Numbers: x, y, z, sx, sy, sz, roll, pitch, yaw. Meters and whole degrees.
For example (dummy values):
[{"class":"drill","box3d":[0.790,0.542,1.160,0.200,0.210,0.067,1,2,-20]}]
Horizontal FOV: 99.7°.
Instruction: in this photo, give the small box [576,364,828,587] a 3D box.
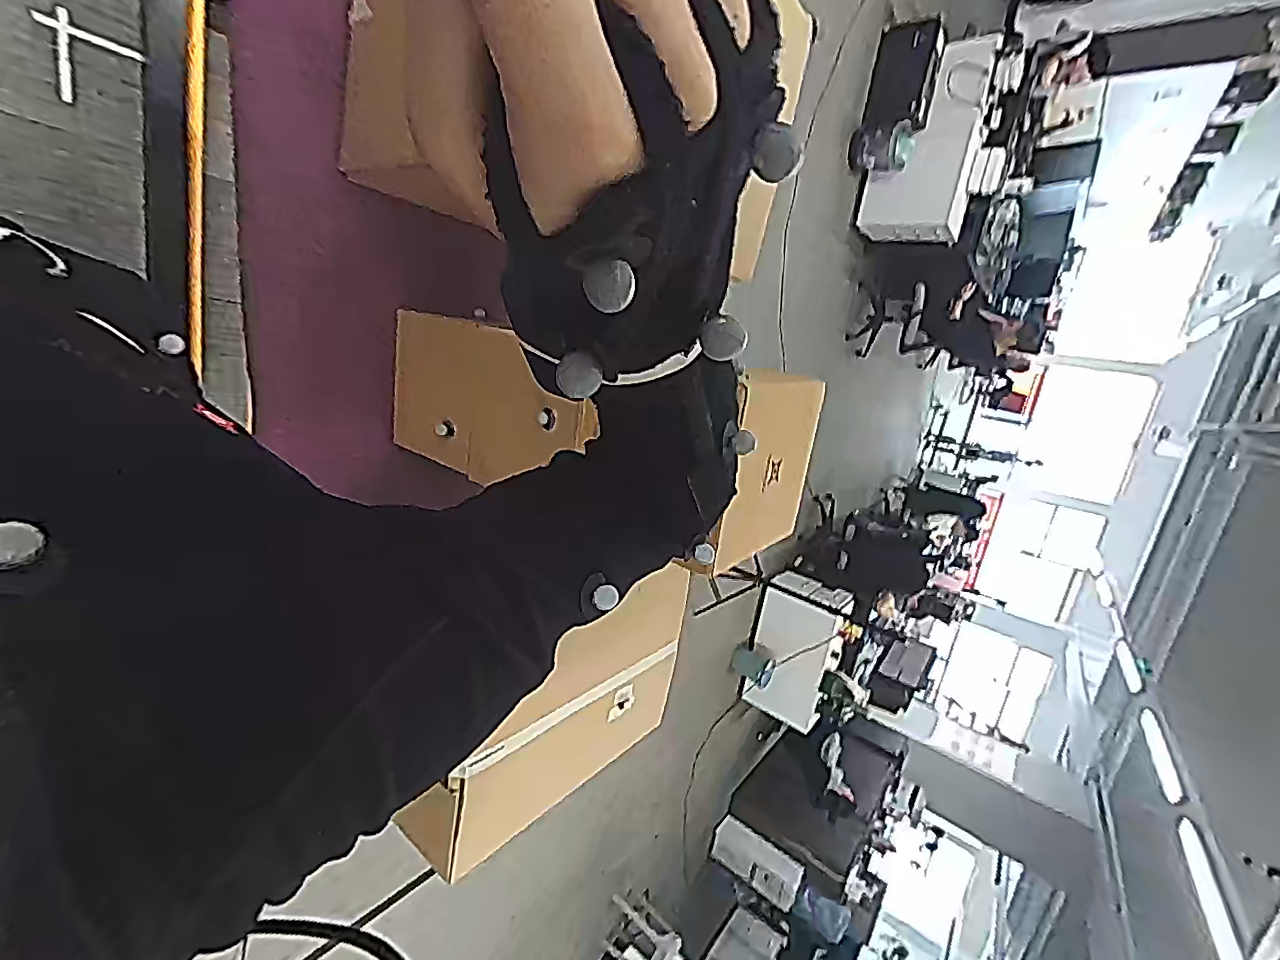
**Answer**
[{"class":"small box","box3d":[0.062,-0.021,0.543,0.179,0.176,0.168,-13,117,-51]}]

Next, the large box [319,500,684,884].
[{"class":"large box","box3d":[-0.186,0.234,0.783,0.408,0.320,0.320,-8,112,-55]}]
